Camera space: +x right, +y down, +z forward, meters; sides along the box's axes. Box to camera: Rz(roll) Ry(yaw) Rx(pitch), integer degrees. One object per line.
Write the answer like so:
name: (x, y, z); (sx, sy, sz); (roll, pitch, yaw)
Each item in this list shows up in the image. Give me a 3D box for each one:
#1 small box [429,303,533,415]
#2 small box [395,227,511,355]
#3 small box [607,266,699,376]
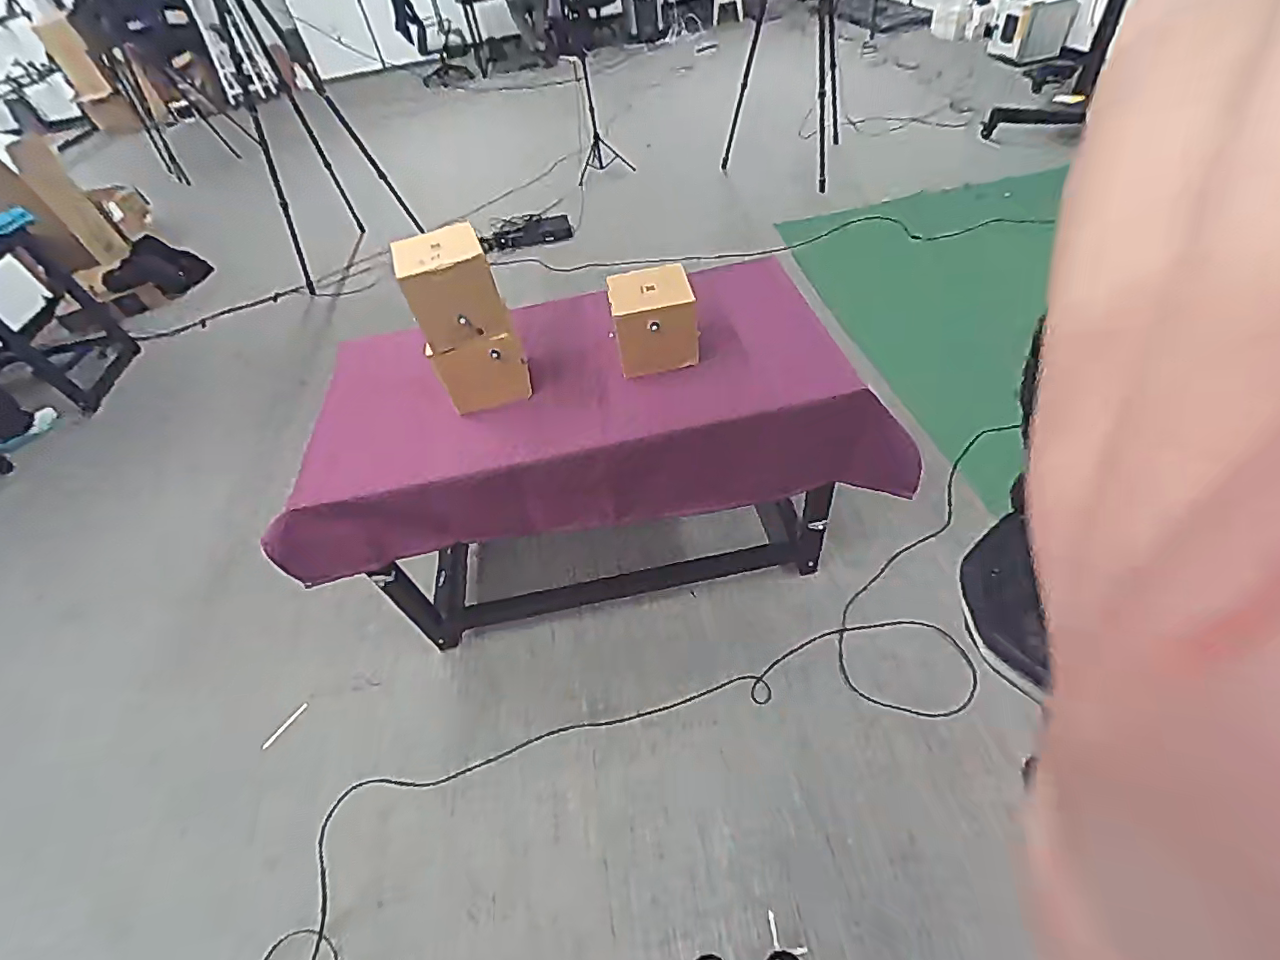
small box: (-0.356, -0.269, 1.224); (0.179, 0.176, 0.168); (-15, 48, -4)
small box: (-0.381, -0.386, 1.109); (0.168, 0.176, 0.179); (-21, 49, -8)
small box: (0.031, -0.354, 1.223); (0.179, 0.176, 0.168); (-10, 48, 1)
